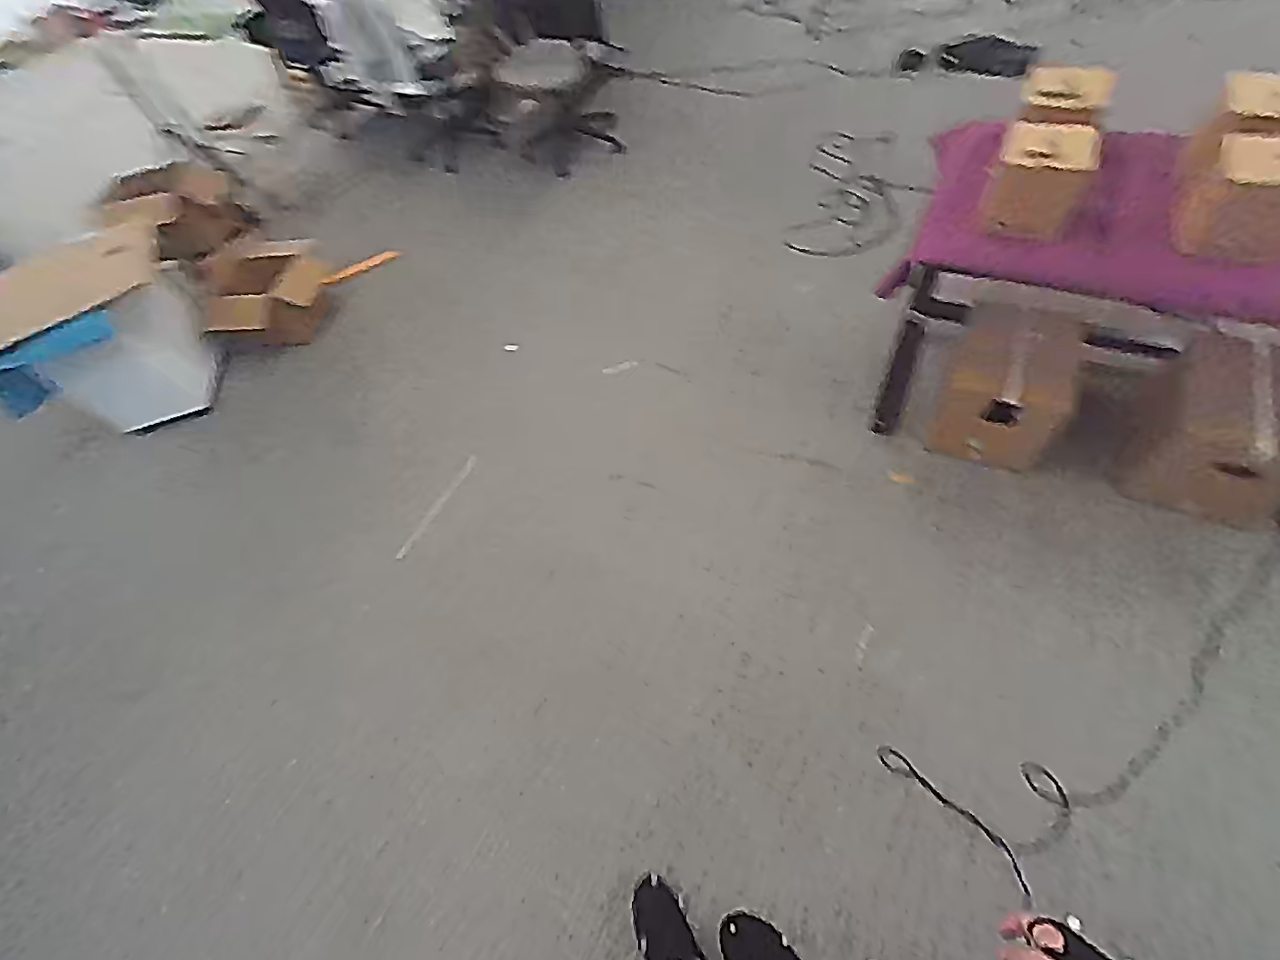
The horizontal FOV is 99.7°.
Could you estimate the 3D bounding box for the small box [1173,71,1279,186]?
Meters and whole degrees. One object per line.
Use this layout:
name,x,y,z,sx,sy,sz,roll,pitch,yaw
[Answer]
small box,1.357,-0.784,1.218,0.168,0.176,0.179,20,64,22

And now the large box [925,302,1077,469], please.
large box,1.151,-0.305,1.746,0.320,0.320,0.408,18,61,21

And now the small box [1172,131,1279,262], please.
small box,1.239,-0.580,1.106,0.168,0.176,0.179,17,62,23

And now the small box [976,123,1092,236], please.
small box,0.899,-0.690,1.246,0.168,0.176,0.179,18,61,21
